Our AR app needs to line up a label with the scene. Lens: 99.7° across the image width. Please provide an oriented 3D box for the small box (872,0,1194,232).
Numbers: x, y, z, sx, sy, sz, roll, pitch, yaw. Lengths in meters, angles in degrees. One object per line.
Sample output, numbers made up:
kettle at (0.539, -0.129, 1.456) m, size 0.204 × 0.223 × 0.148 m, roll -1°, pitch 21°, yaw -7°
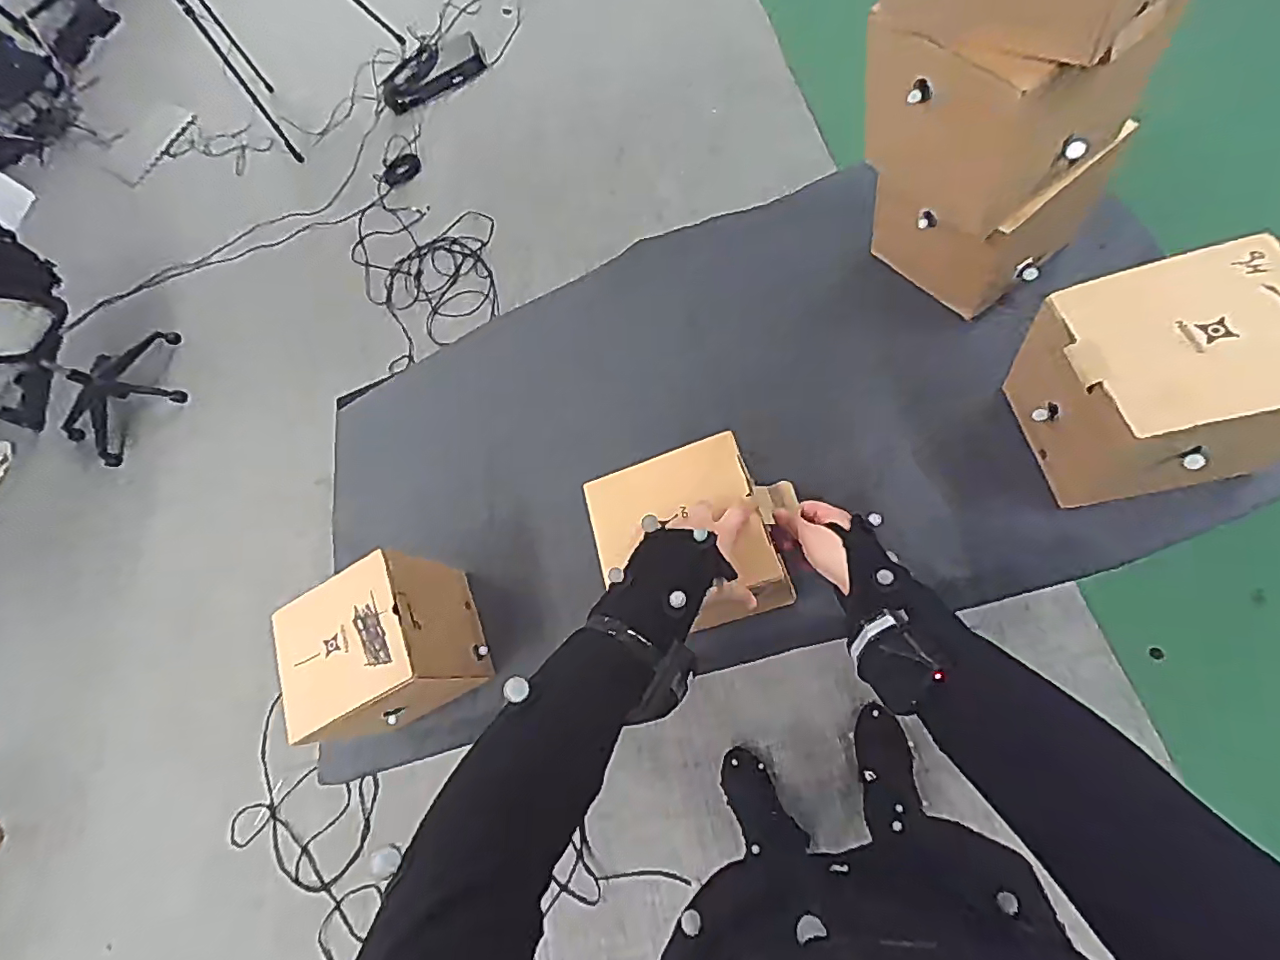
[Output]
small box at (0.339, -0.376, 0.505) m, size 0.168 × 0.176 × 0.179 m, roll -37°, pitch 64°, yaw 7°

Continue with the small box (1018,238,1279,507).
small box at (0.500, -0.087, 0.524) m, size 0.179 × 0.176 × 0.168 m, roll -14°, pitch 63°, yaw 15°

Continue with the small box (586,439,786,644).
small box at (0.058, 0.082, 0.625) m, size 0.179 × 0.176 × 0.168 m, roll -18°, pitch 64°, yaw 9°

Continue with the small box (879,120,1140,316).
small box at (0.412, -0.333, 0.648) m, size 0.168 × 0.176 × 0.179 m, roll -41°, pitch 65°, yaw 5°

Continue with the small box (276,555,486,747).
small box at (-0.323, 0.219, 0.703) m, size 0.179 × 0.176 × 0.168 m, roll -30°, pitch 65°, yaw 7°
